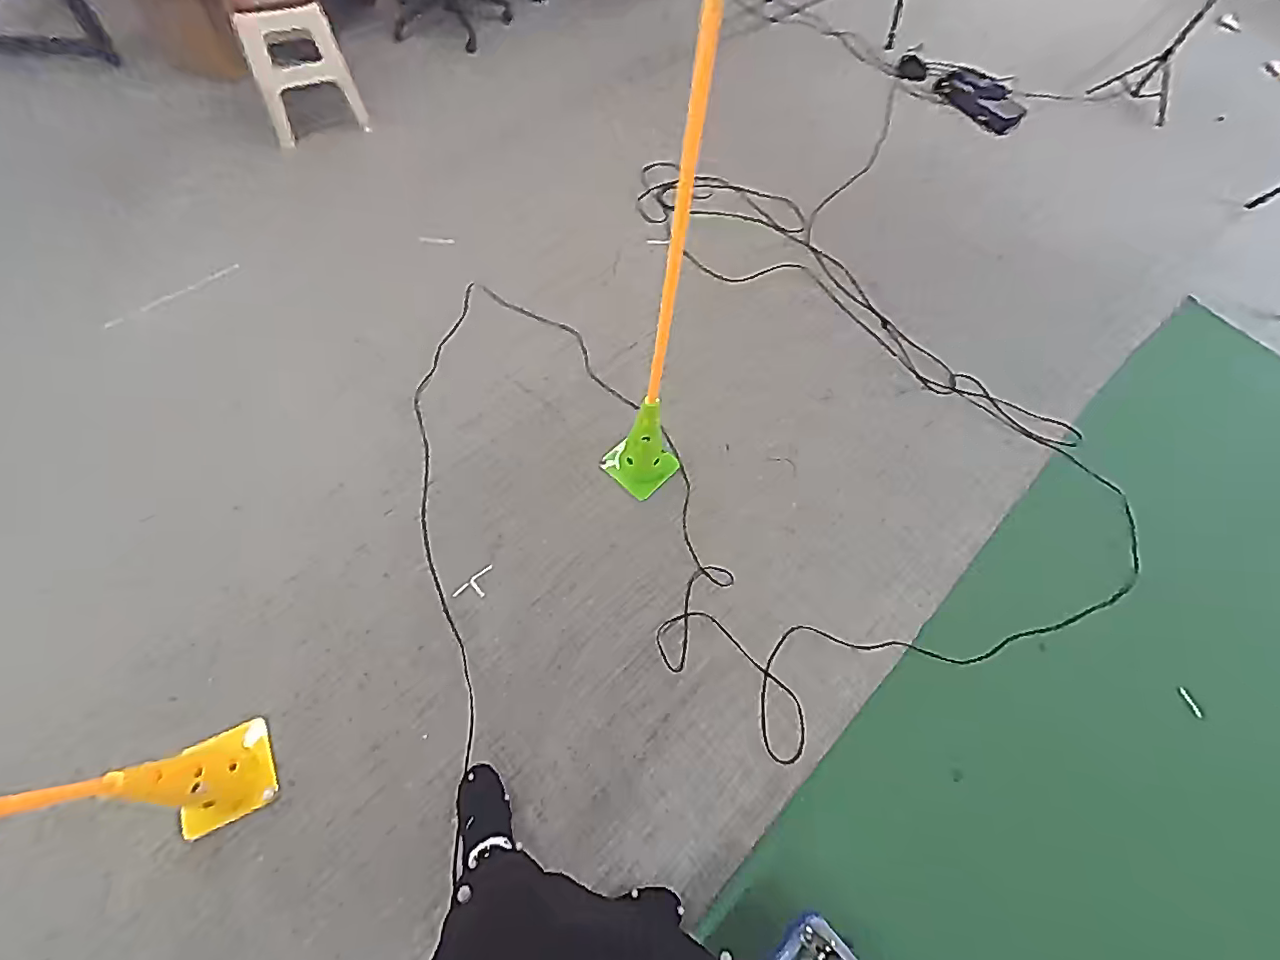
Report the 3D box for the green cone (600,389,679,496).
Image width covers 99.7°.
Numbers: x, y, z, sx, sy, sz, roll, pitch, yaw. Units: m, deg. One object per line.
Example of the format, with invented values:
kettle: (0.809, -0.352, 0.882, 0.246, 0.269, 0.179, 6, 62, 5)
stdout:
green cone: (0.017, -0.142, 1.605, 0.200, 0.368, 0.202, 41, 65, 14)
